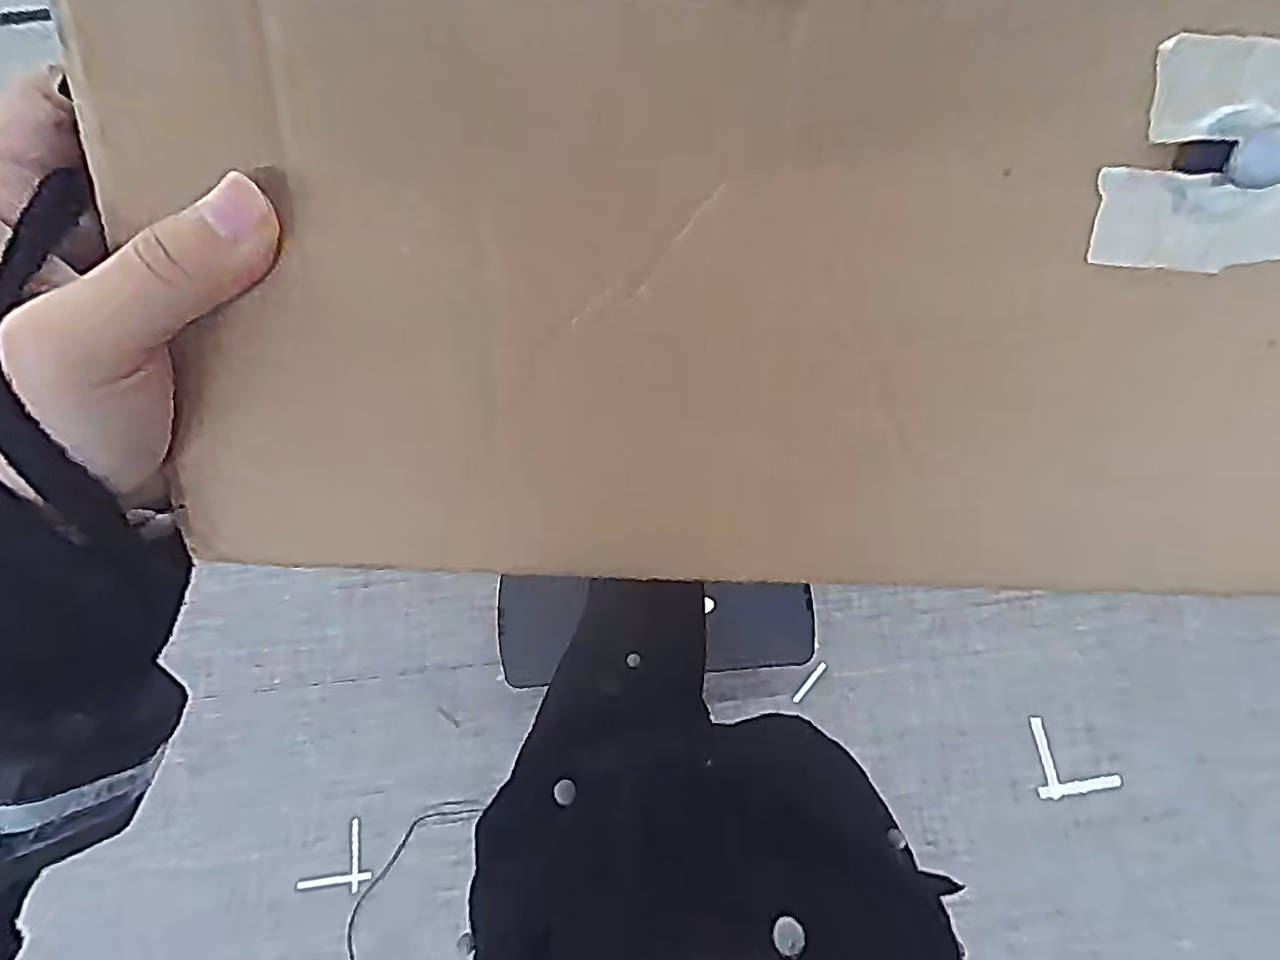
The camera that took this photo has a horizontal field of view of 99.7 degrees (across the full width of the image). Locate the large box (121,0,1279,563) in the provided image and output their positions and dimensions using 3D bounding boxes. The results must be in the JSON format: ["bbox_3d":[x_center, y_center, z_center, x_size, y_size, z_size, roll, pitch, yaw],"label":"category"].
[{"bbox_3d":[0.069,-0.161,0.276,0.408,0.320,0.320,1,107,0],"label":"large box"}]
